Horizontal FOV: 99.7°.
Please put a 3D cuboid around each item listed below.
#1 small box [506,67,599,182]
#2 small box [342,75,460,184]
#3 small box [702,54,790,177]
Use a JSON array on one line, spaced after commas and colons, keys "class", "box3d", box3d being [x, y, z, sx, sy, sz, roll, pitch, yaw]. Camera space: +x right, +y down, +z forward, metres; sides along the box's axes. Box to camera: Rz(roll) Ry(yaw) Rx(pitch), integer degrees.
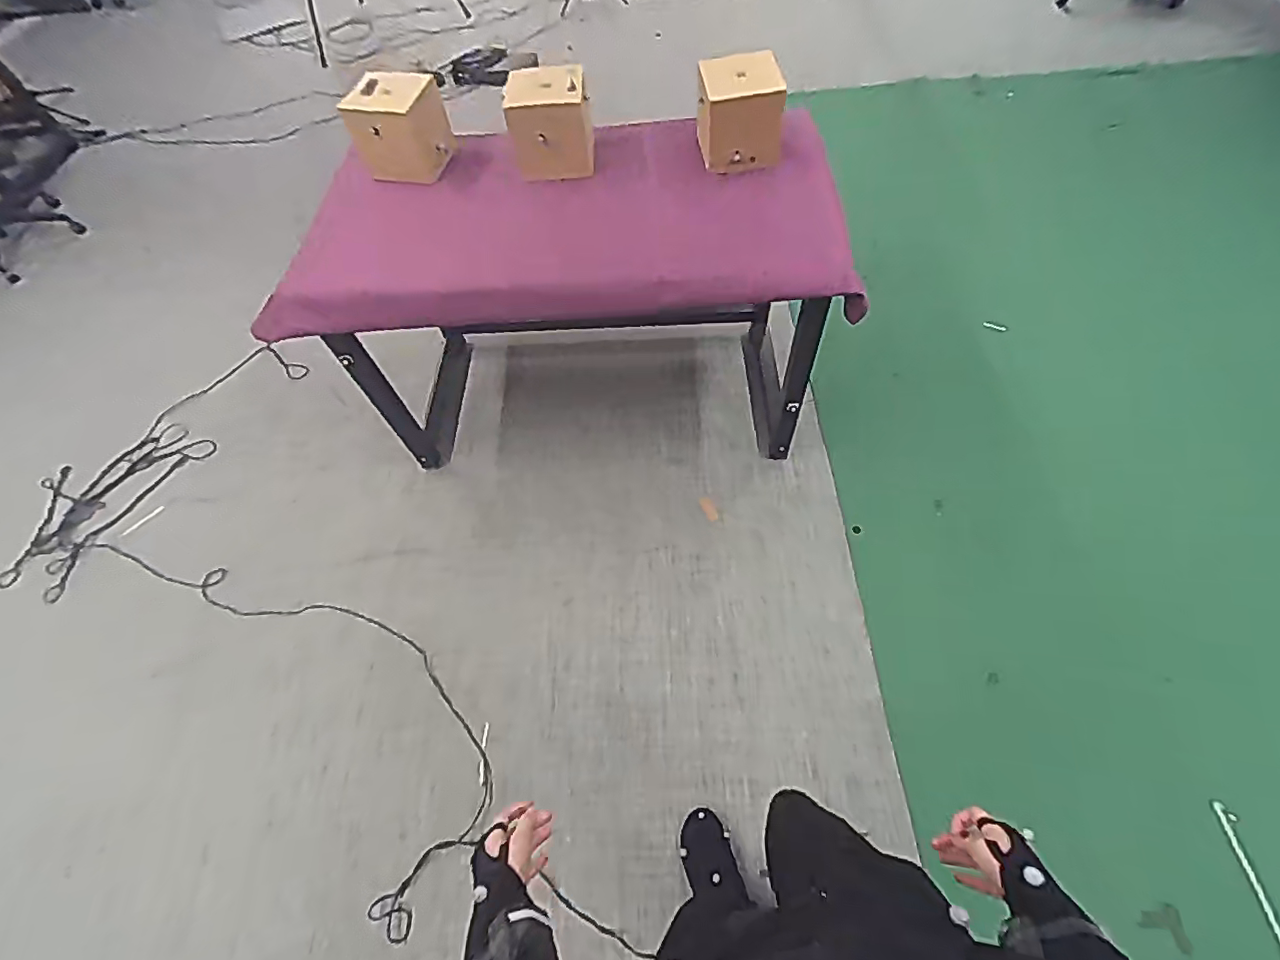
[{"class": "small box", "box3d": [-0.199, -0.830, 1.274, 0.179, 0.176, 0.168, -3, 61, 4]}, {"class": "small box", "box3d": [-0.567, -0.845, 1.310, 0.179, 0.176, 0.168, 9, 62, 8]}, {"class": "small box", "box3d": [0.233, -0.830, 1.239, 0.168, 0.176, 0.179, -7, 61, 2]}]
